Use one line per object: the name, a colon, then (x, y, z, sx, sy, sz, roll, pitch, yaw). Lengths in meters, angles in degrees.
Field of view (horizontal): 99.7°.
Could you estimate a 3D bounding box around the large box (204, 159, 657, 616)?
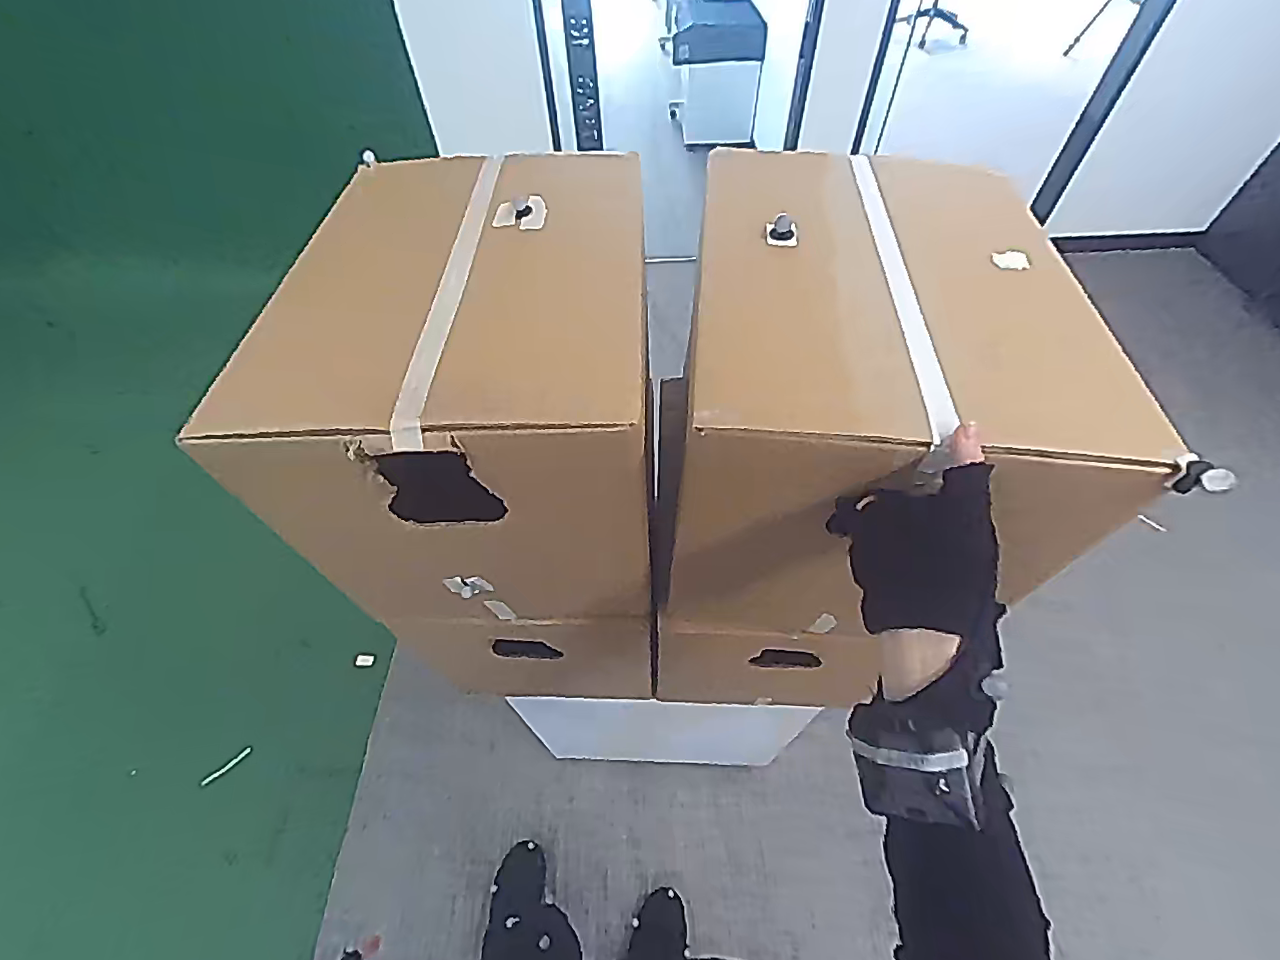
large box: (-0.146, -0.099, 0.601, 0.320, 0.320, 0.408, -1, 52, 2)
